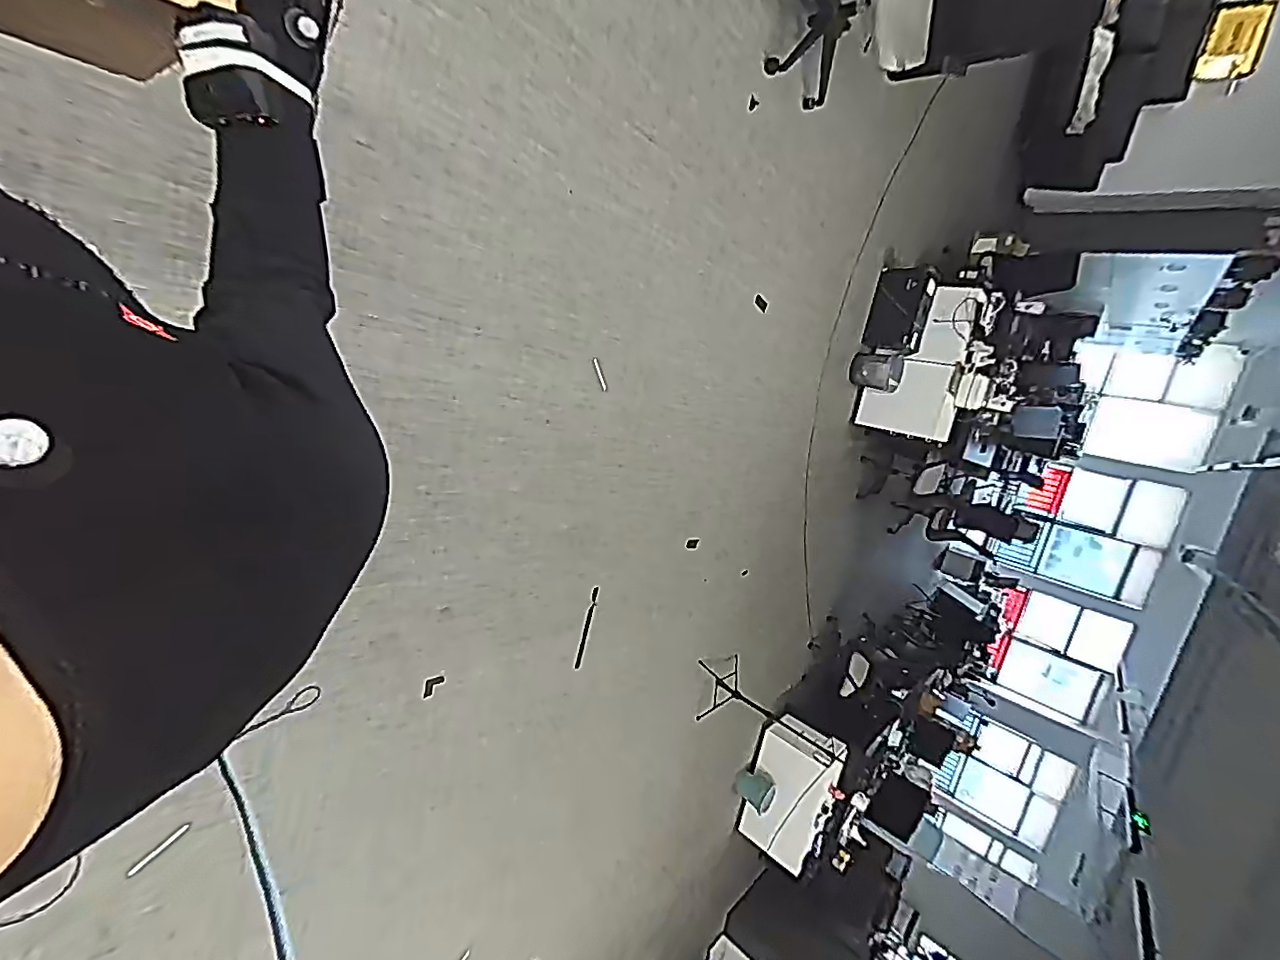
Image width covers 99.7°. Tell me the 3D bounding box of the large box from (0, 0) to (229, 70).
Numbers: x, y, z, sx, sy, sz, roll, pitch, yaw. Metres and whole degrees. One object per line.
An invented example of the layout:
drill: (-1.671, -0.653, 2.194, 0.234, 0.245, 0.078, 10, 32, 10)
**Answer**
large box: (-0.513, -0.499, 0.286, 0.408, 0.320, 0.320, -9, 116, -51)
